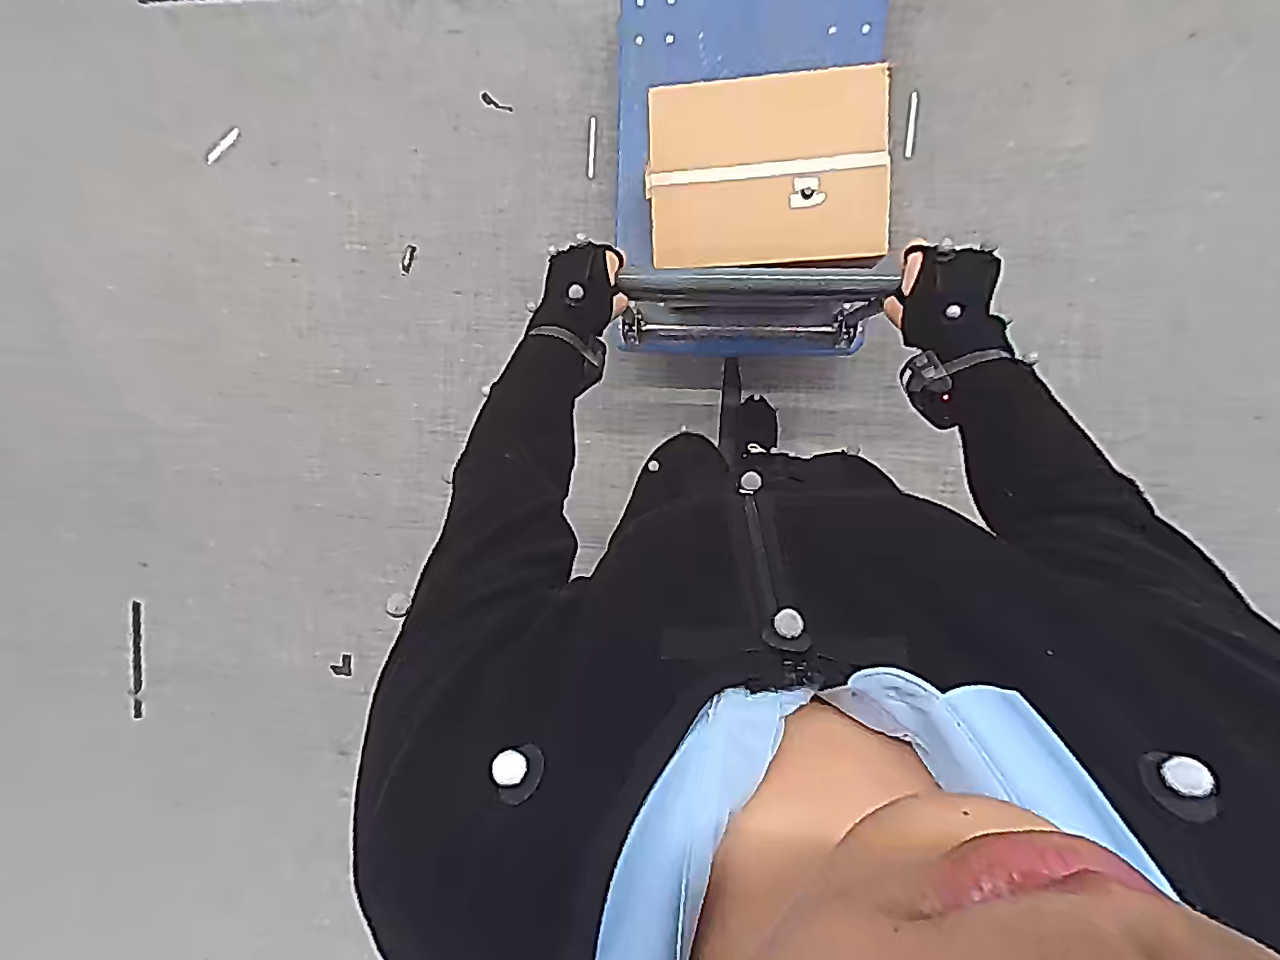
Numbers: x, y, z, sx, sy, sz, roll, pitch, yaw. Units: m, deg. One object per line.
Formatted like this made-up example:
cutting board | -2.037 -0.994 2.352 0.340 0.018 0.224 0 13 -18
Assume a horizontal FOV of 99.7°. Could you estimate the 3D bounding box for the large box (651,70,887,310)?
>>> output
large box | 0.237 -0.544 1.091 0.408 0.320 0.320 -2 96 6
